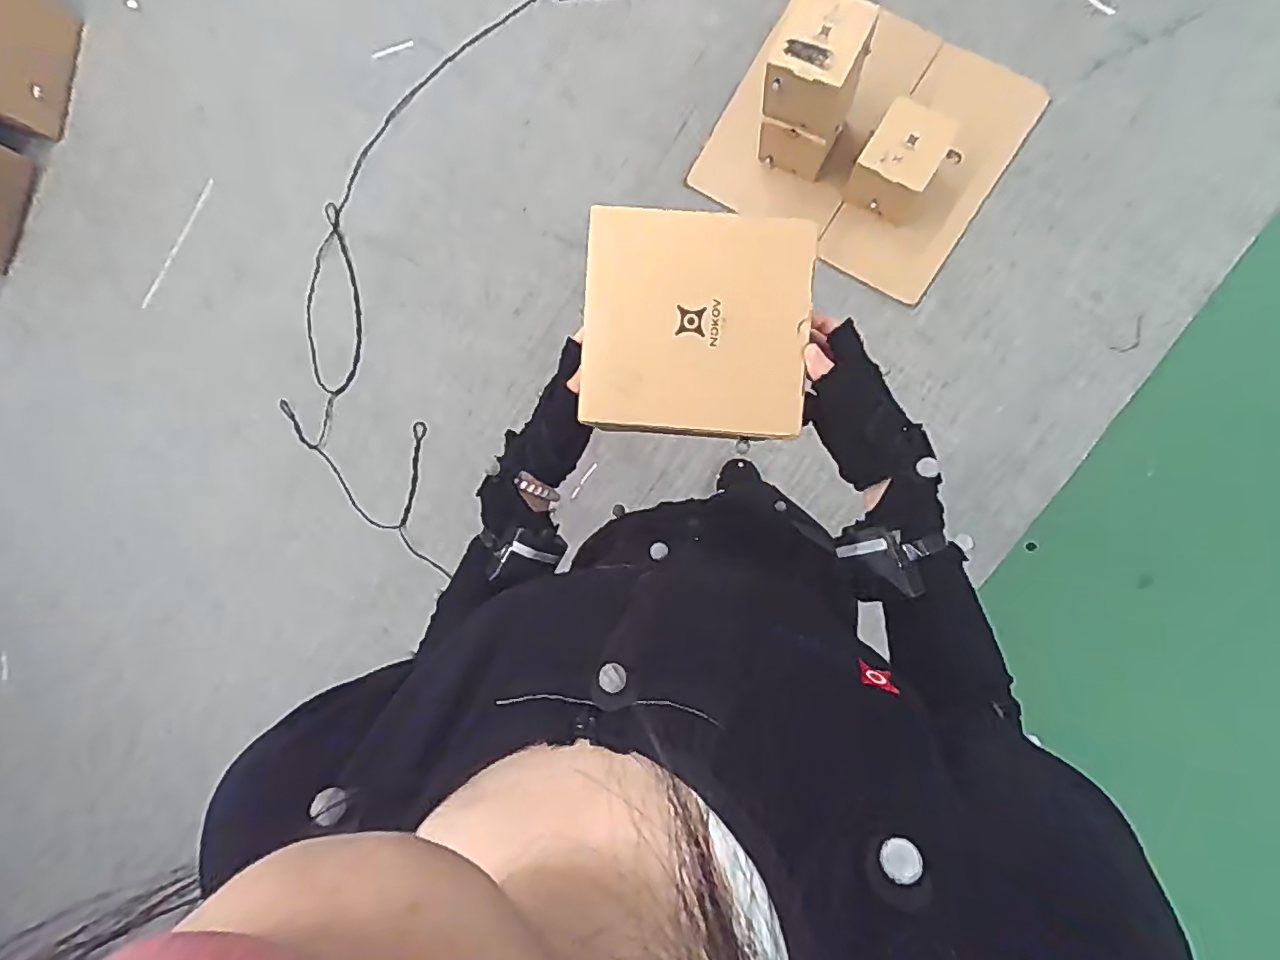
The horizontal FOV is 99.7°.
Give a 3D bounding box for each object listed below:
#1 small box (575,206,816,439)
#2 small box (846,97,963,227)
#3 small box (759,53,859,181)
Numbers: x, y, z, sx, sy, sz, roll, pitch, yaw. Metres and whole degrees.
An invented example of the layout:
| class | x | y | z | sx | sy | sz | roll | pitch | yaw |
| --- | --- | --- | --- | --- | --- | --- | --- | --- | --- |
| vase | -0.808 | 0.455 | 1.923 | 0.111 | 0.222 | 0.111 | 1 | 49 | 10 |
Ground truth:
| class | x | y | z | sx | sy | sz | roll | pitch | yaw |
| --- | --- | --- | --- | --- | --- | --- | --- | --- | --- |
| small box | 0.043 | -0.126 | 0.492 | 0.179 | 0.176 | 0.168 | 4 | 93 | 1 |
| small box | 0.621 | -0.754 | 1.298 | 0.168 | 0.176 | 0.179 | 33 | 96 | 9 |
| small box | 0.406 | -0.879 | 1.330 | 0.168 | 0.176 | 0.179 | 28 | 94 | 8 |
